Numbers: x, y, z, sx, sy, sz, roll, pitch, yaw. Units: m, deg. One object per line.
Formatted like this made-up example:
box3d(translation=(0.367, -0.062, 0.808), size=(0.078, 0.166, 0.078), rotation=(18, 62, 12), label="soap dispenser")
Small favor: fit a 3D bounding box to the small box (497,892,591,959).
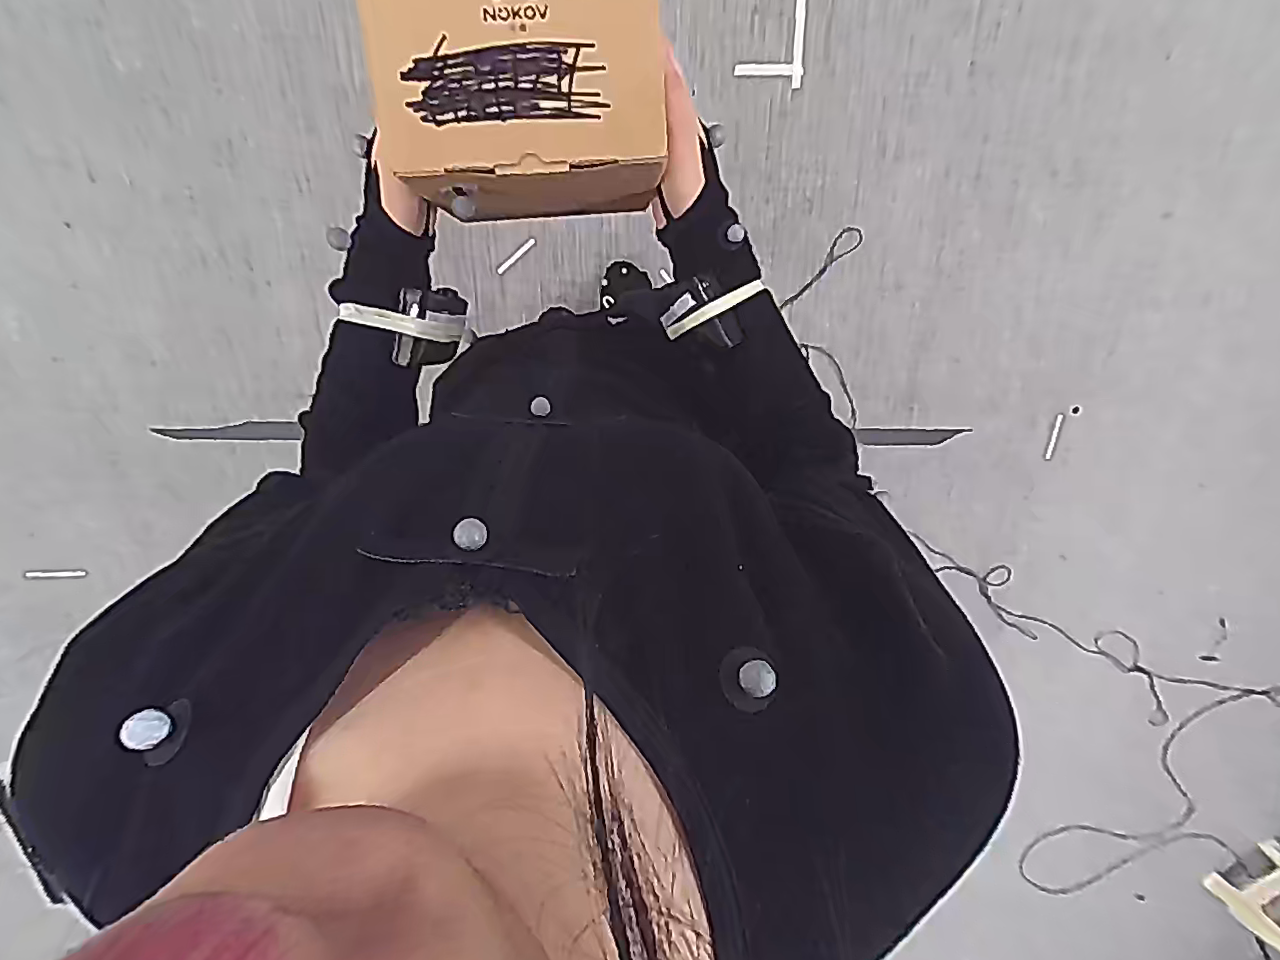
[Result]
box3d(translation=(-0.177, 0.910, 1.004), size=(0.168, 0.176, 0.179), rotation=(1, 111, -7), label="small box")
